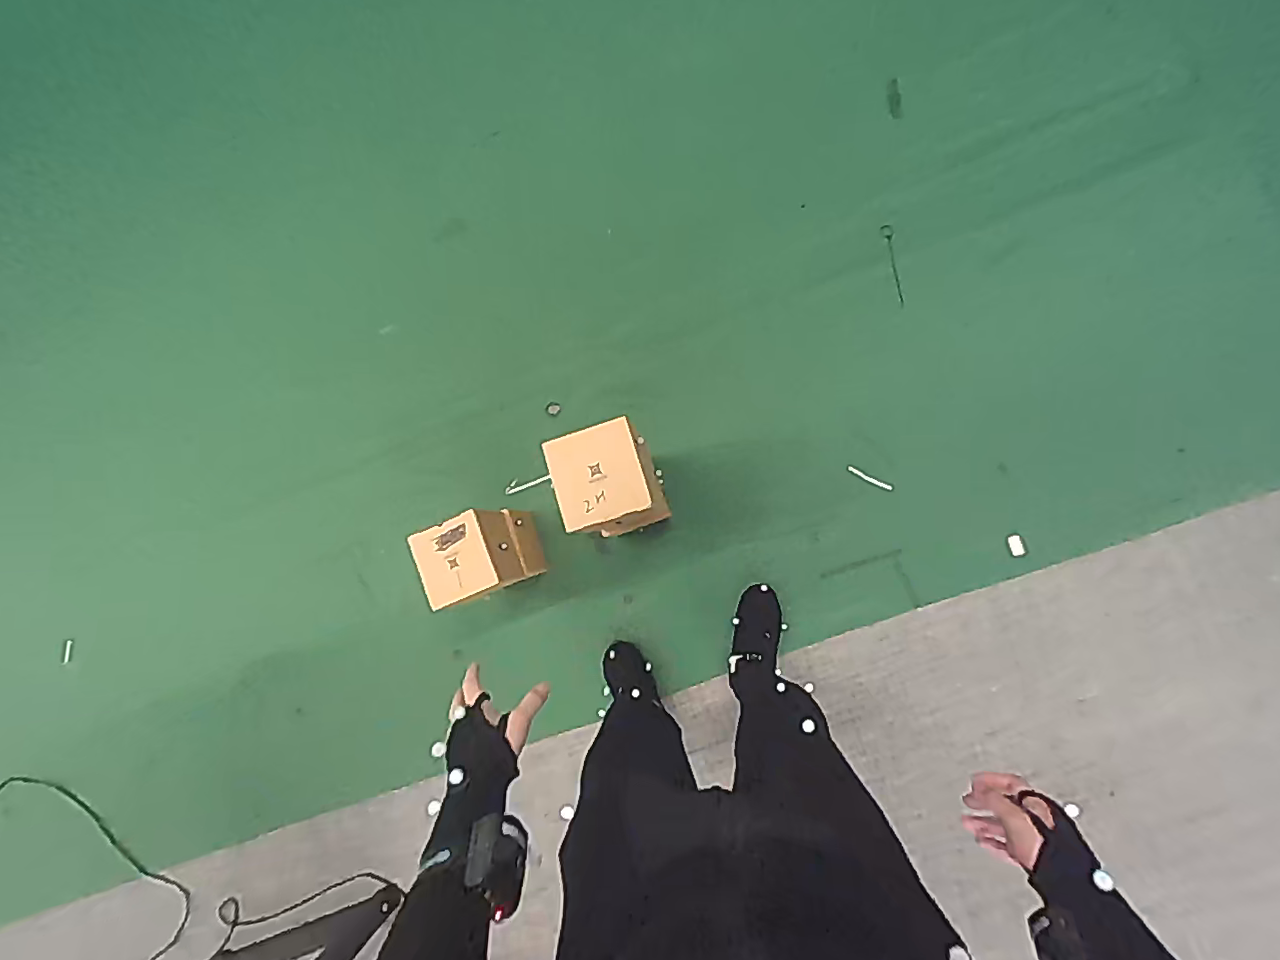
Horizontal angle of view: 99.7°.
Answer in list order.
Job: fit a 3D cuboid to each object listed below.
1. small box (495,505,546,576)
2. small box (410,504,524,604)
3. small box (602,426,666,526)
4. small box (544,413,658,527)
[{"bbox_3d":[-0.363,0.174,1.411,0.168,0.176,0.179,-20,82,6],"label":"small box"},{"bbox_3d":[-0.392,0.168,1.249,0.168,0.176,0.179,-23,83,6],"label":"small box"},{"bbox_3d":[-0.047,-0.001,1.215,0.168,0.176,0.179,-17,83,6],"label":"small box"},{"bbox_3d":[-0.070,-0.011,1.052,0.168,0.176,0.179,-17,84,5],"label":"small box"}]
